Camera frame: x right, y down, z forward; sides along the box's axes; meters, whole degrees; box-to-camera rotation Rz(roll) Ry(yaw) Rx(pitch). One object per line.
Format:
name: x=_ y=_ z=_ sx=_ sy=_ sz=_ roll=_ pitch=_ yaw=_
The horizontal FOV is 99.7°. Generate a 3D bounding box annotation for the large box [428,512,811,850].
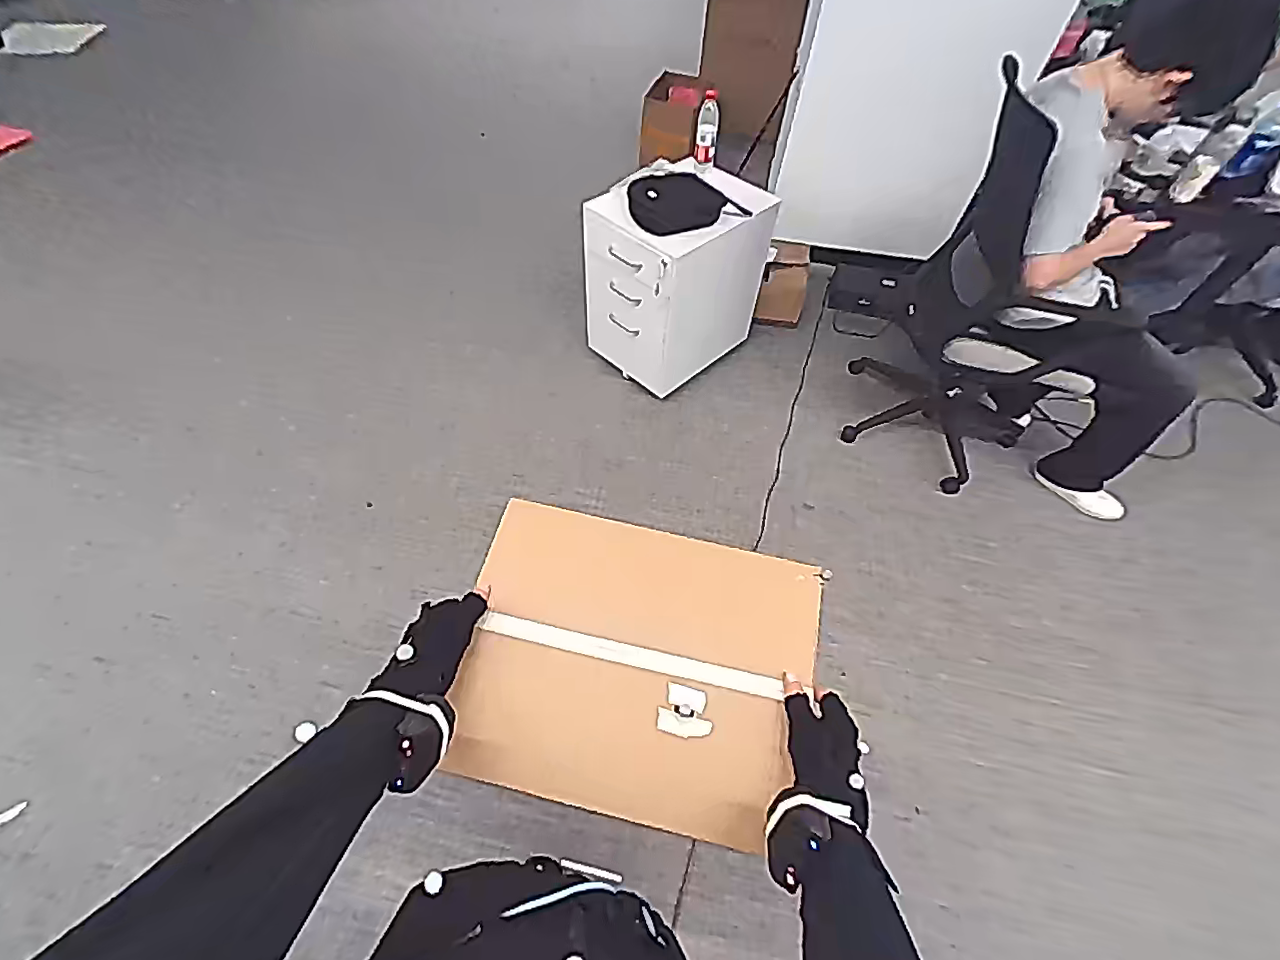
large box: x=-0.013 y=0.280 z=0.764 sx=0.408 sy=0.320 sz=0.320 roll=12 pitch=63 yaw=3
